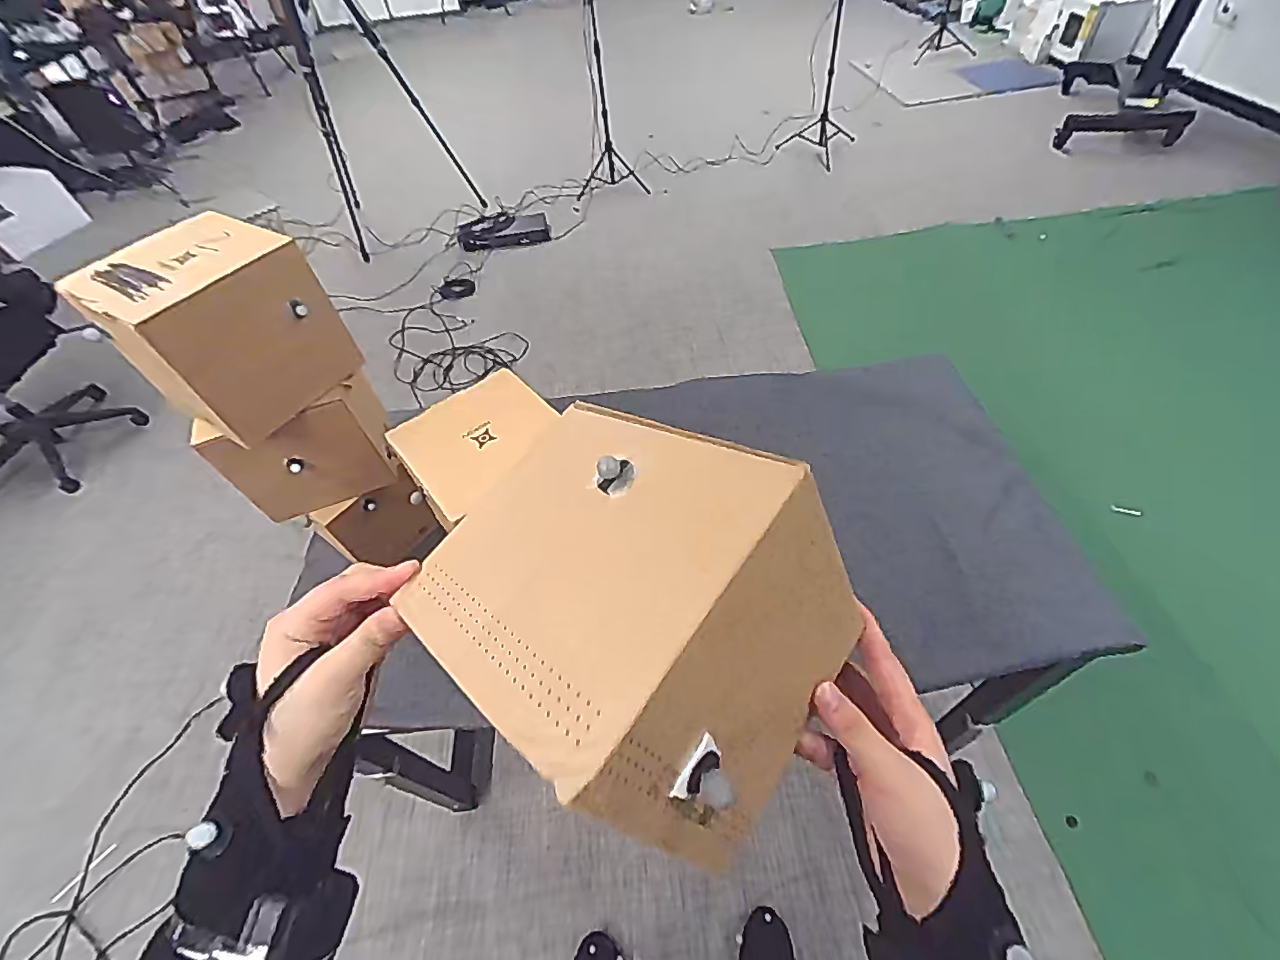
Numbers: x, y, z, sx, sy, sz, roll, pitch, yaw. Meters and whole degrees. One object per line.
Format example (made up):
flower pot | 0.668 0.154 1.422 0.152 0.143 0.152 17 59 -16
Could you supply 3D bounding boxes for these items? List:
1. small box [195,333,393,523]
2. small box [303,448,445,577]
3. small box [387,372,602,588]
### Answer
small box | -0.465 -0.069 0.757 0.179 0.176 0.168 -21 53 -10
small box | -0.450 0.031 0.888 0.179 0.176 0.168 27 59 25
small box | -0.166 0.007 0.661 0.168 0.176 0.179 -36 55 -21
